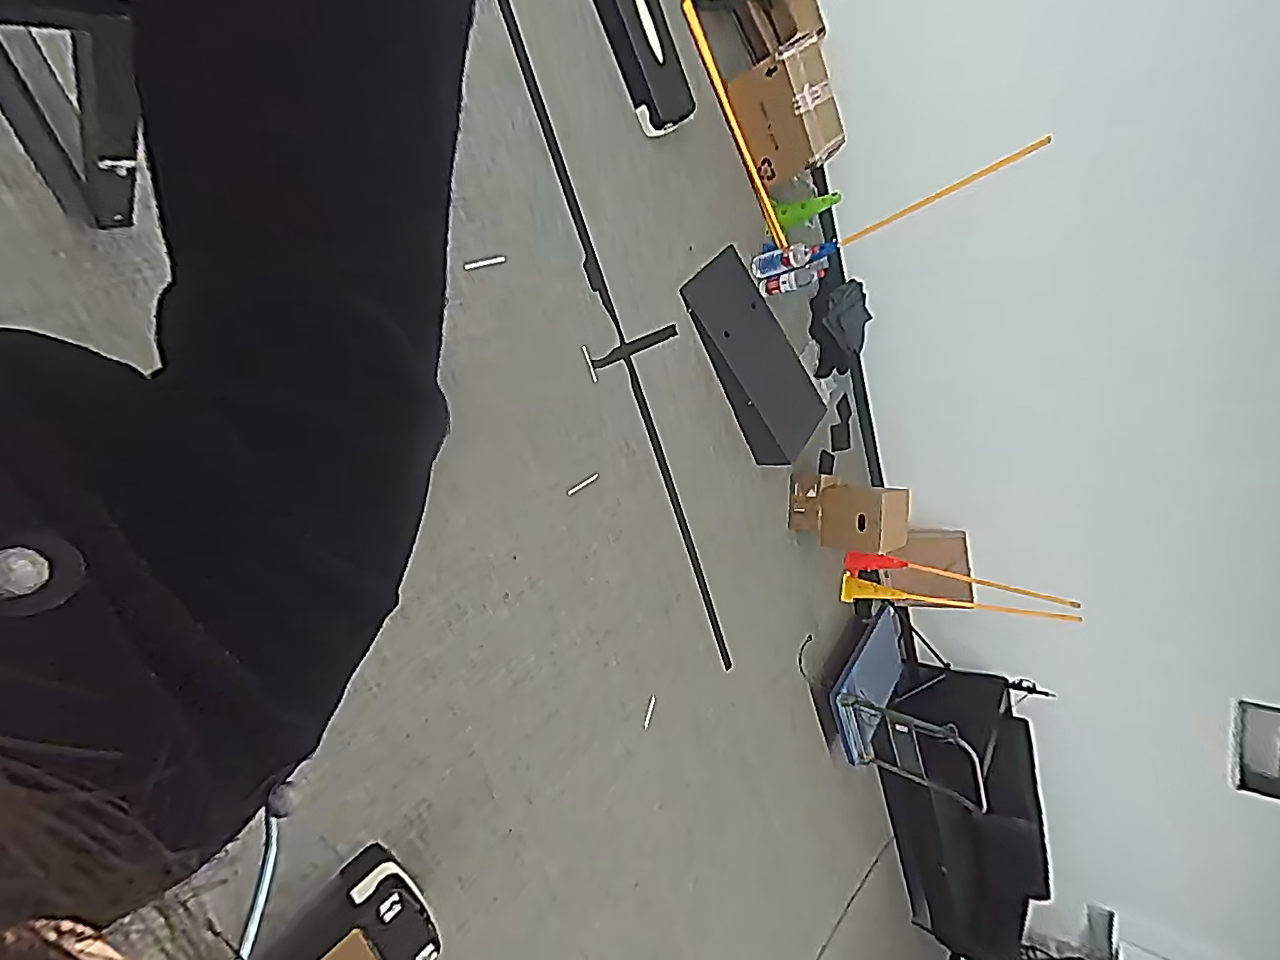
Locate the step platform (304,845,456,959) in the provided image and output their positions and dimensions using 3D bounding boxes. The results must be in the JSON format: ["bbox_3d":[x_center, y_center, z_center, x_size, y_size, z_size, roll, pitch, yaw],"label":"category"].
[{"bbox_3d":[-0.784,1.239,1.254,0.684,0.204,0.286,-28,109,-42],"label":"step platform"}]
